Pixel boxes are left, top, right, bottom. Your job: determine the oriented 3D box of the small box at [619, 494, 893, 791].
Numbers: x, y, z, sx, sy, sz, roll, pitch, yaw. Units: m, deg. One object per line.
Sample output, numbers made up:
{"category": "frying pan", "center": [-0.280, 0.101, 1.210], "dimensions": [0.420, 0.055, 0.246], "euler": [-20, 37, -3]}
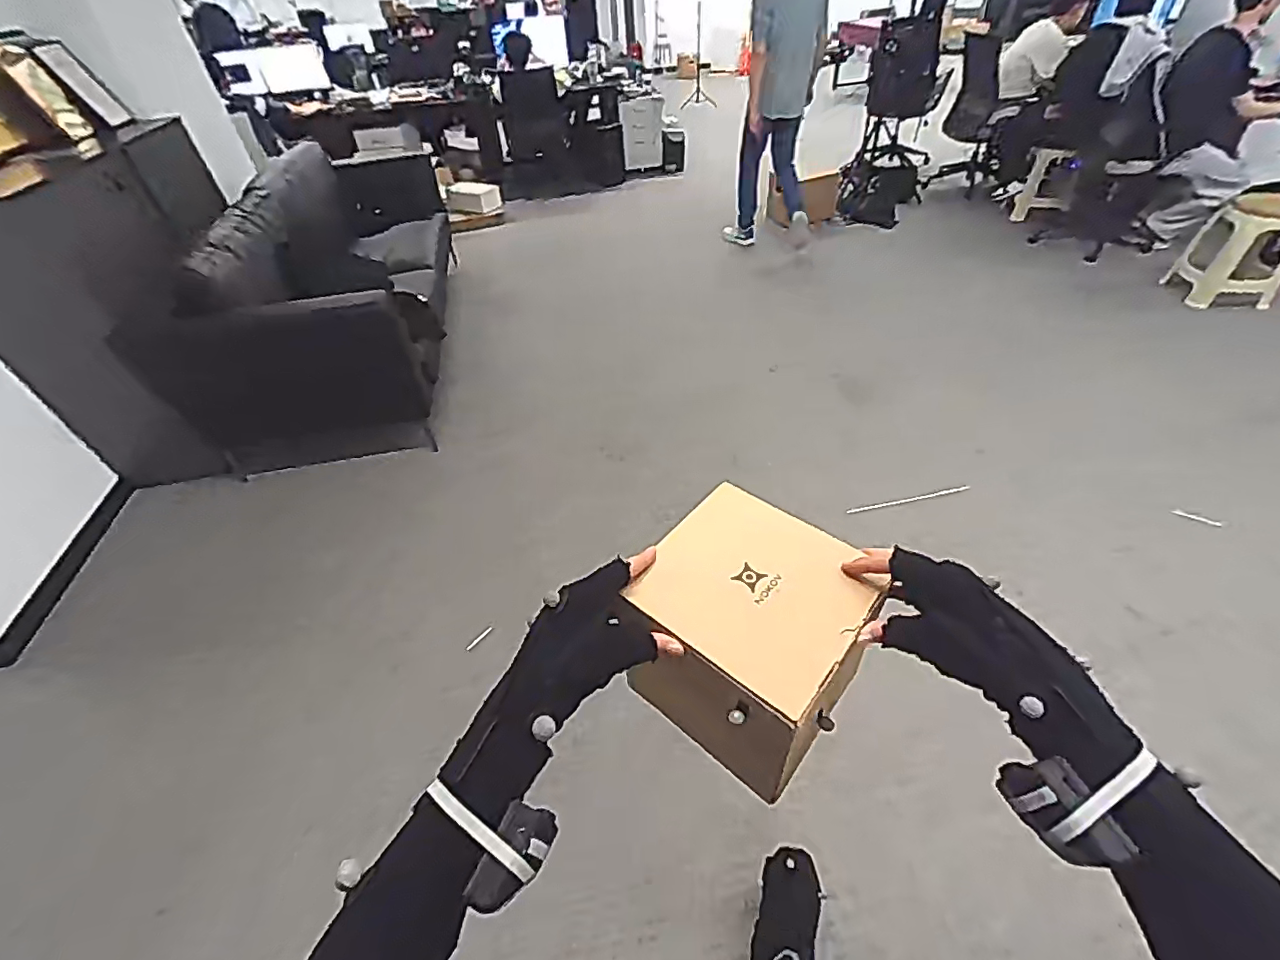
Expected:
{"category": "small box", "center": [0.100, 0.150, 0.511], "dimensions": [0.179, 0.176, 0.168], "euler": [30, 52, 30]}
